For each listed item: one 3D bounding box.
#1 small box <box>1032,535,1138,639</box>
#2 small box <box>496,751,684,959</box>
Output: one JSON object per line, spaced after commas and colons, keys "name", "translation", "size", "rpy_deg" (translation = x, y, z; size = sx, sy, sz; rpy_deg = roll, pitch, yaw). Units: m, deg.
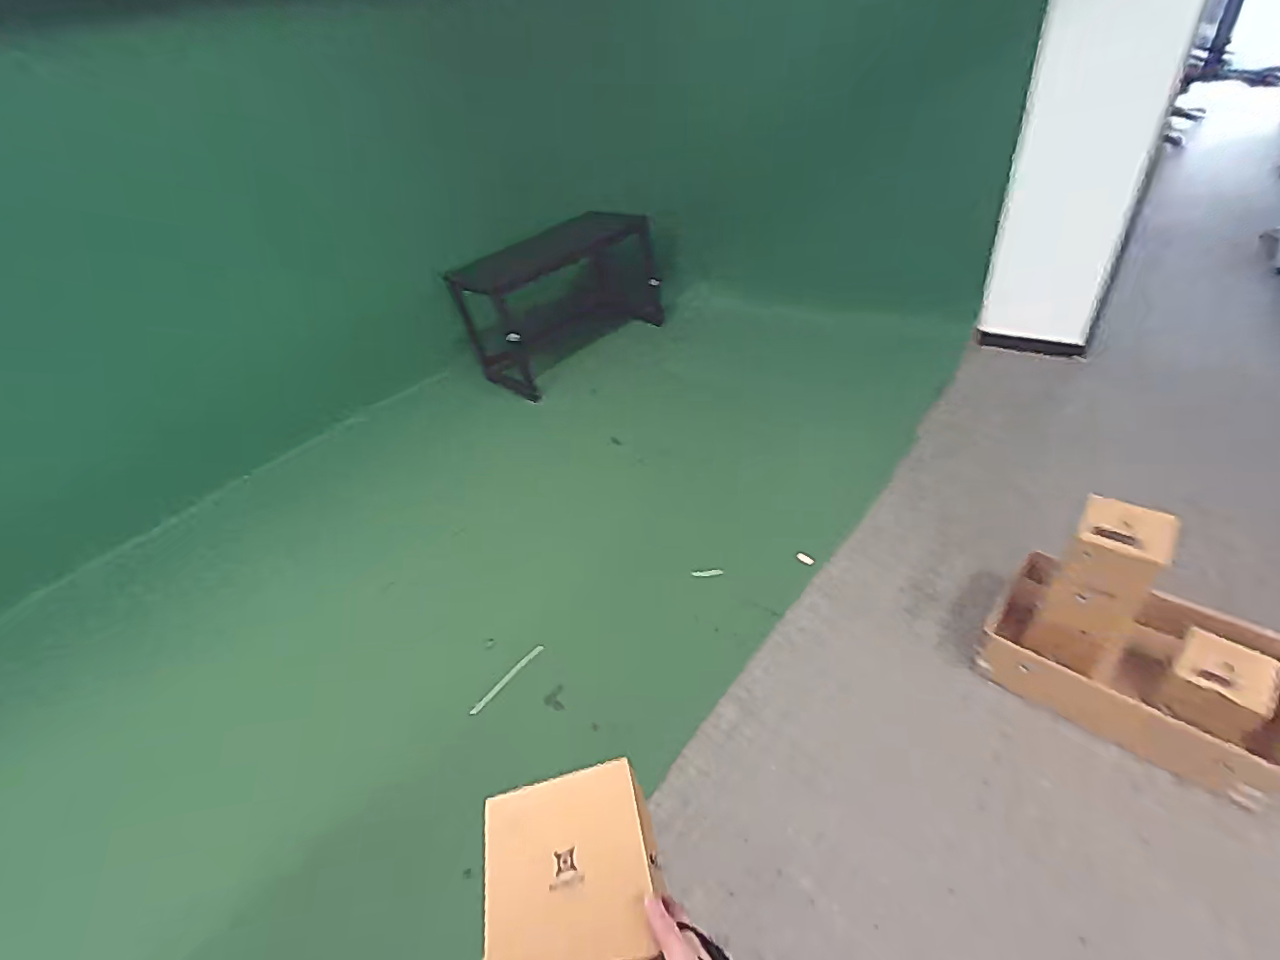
{"name": "small box", "translation": [1.177, 0.284, 1.440], "size": [0.168, 0.176, 0.179], "rpy_deg": [22, 51, 36]}
{"name": "small box", "translation": [-0.054, 0.438, 0.597], "size": [0.168, 0.176, 0.179], "rpy_deg": [-13, 42, -4]}
